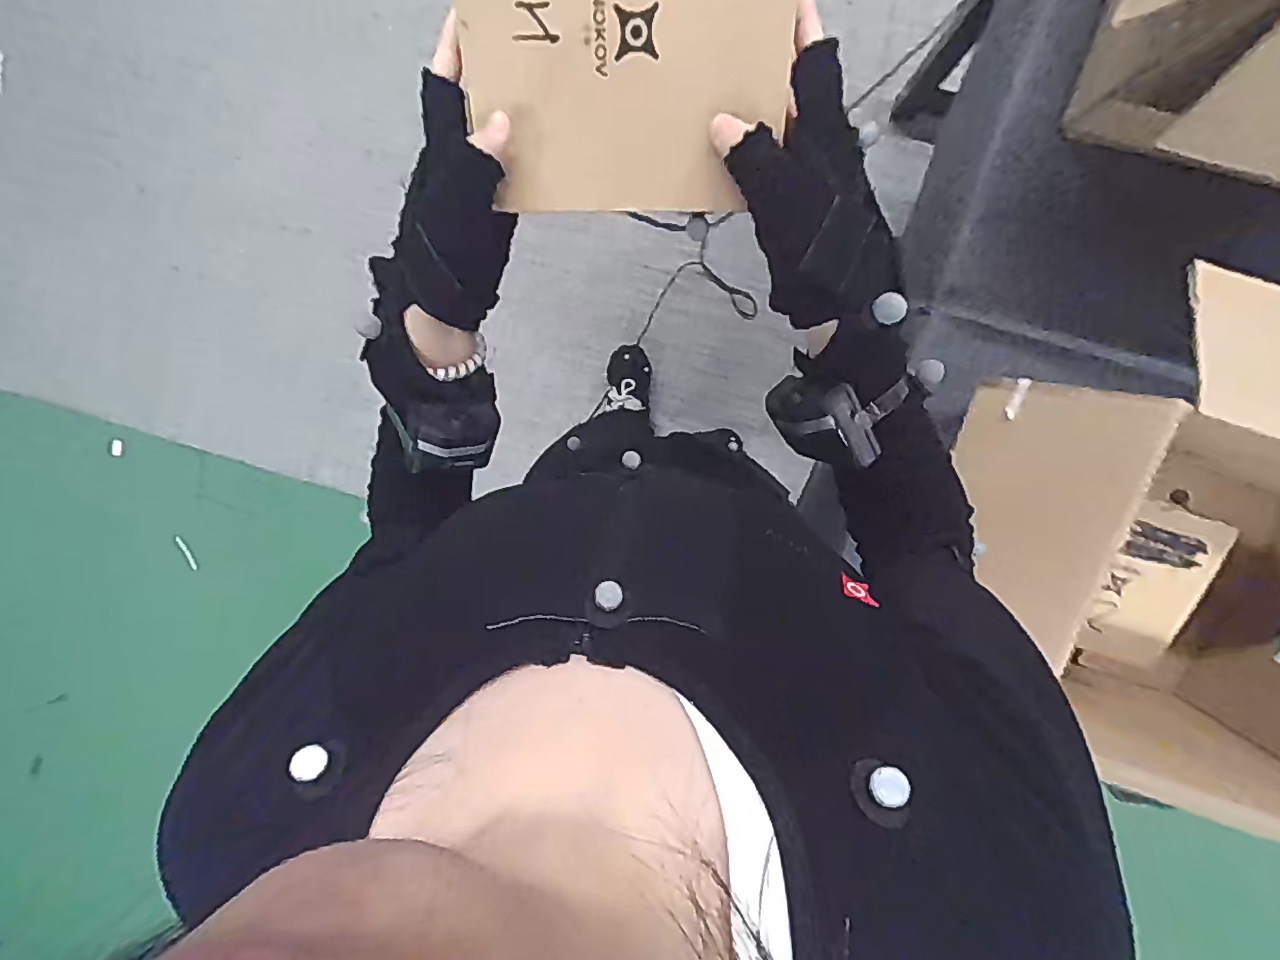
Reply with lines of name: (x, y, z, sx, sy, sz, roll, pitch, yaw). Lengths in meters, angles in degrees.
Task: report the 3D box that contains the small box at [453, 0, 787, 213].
small box: (-0.005, -0.271, 0.356, 0.179, 0.176, 0.168, 3, 118, 5)
